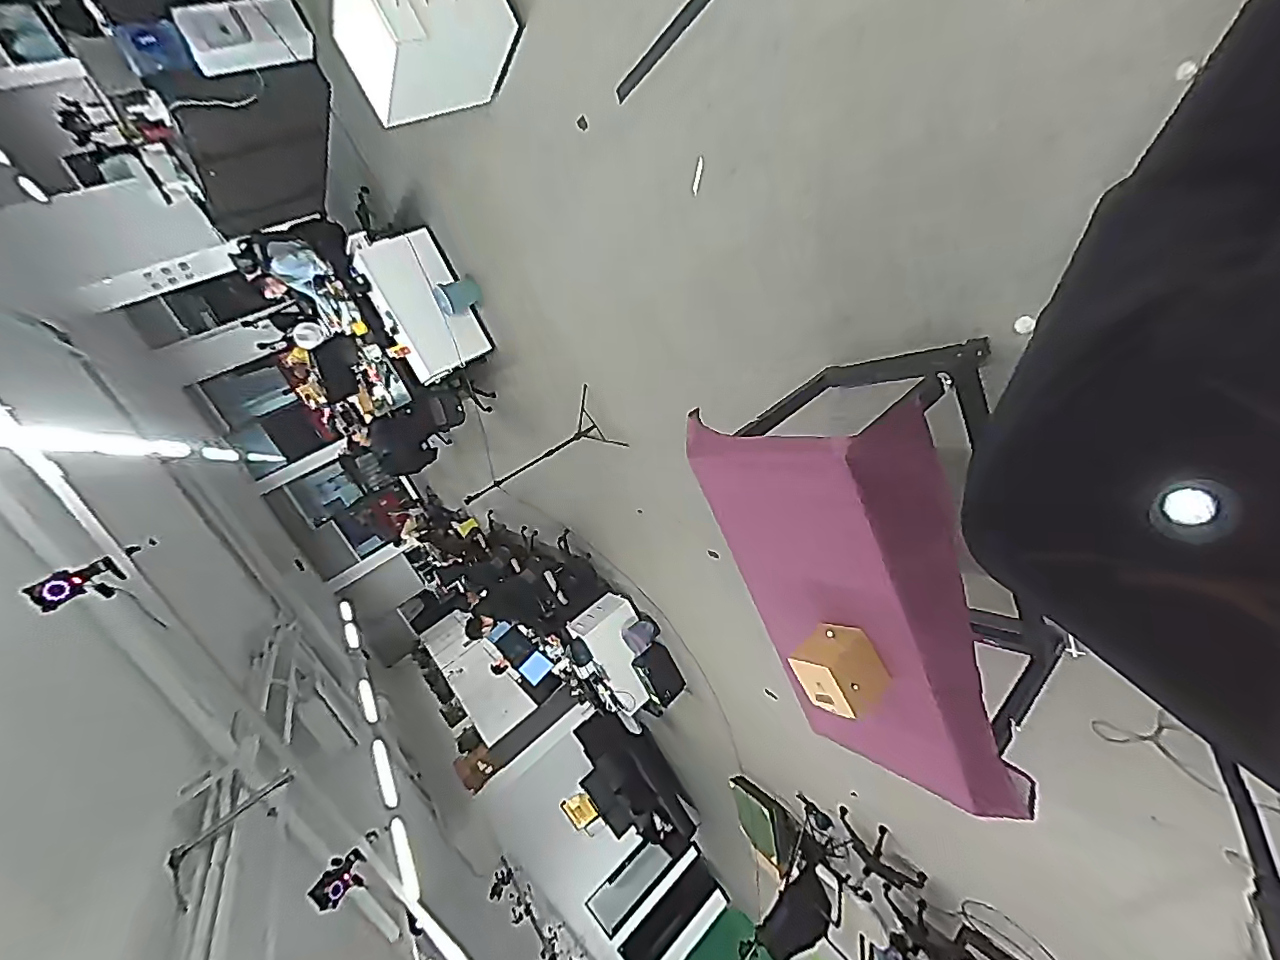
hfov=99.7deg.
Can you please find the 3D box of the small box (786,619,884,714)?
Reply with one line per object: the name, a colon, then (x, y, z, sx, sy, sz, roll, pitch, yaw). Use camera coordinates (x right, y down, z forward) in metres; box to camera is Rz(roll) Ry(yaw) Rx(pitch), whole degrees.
small box: (0.565, 0.530, 1.557, 0.179, 0.176, 0.168, 59, 154, -7)
